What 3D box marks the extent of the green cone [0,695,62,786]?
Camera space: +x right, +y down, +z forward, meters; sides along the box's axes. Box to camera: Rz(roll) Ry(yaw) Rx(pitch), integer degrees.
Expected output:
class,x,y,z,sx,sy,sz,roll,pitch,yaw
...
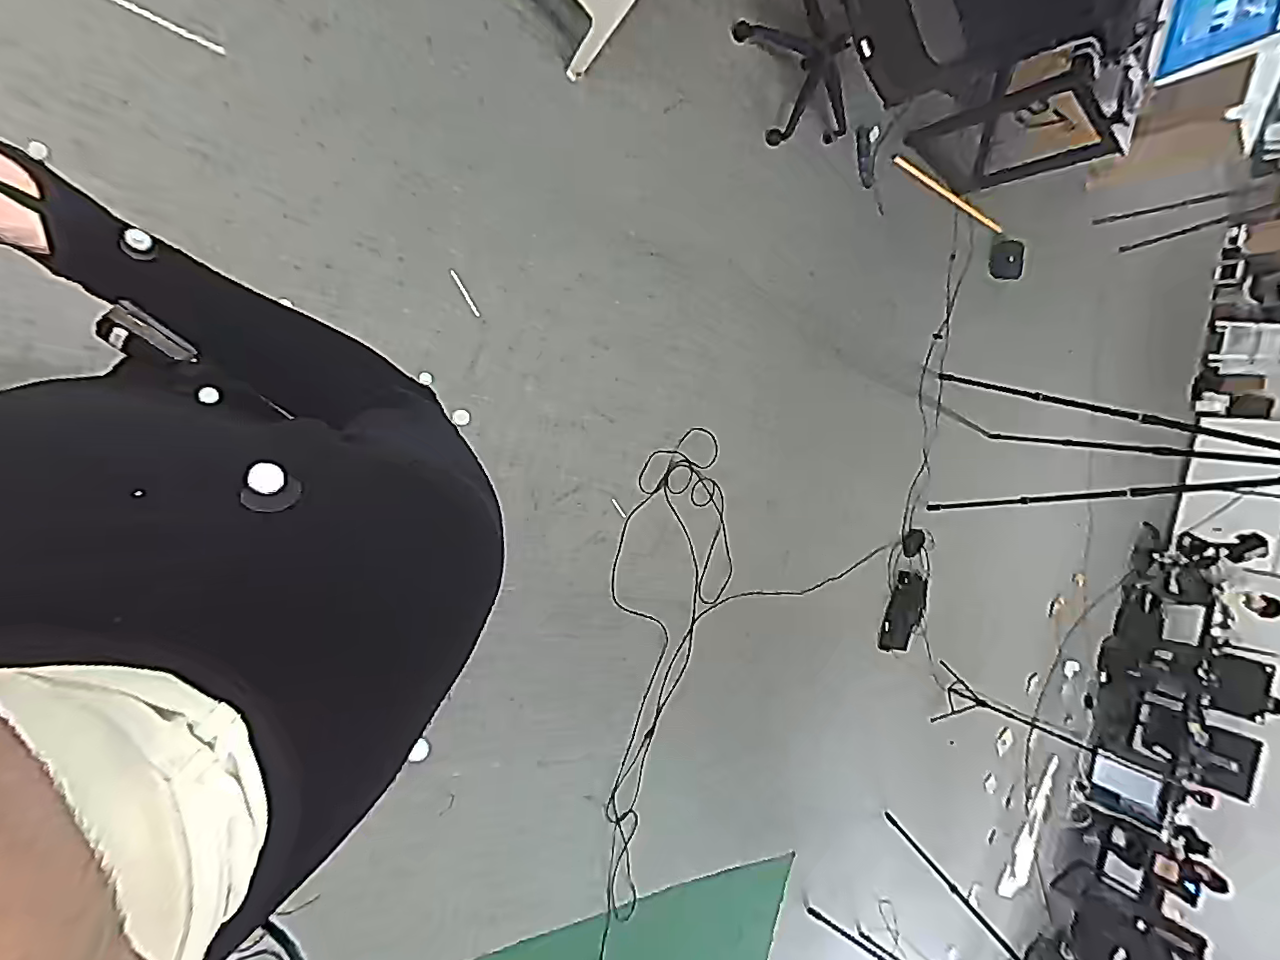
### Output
class,x,y,z,sx,sy,sz,roll,pitch,yaw
green cone,-1.280,0.585,1.009,0.202,0.368,0.200,12,92,-38
